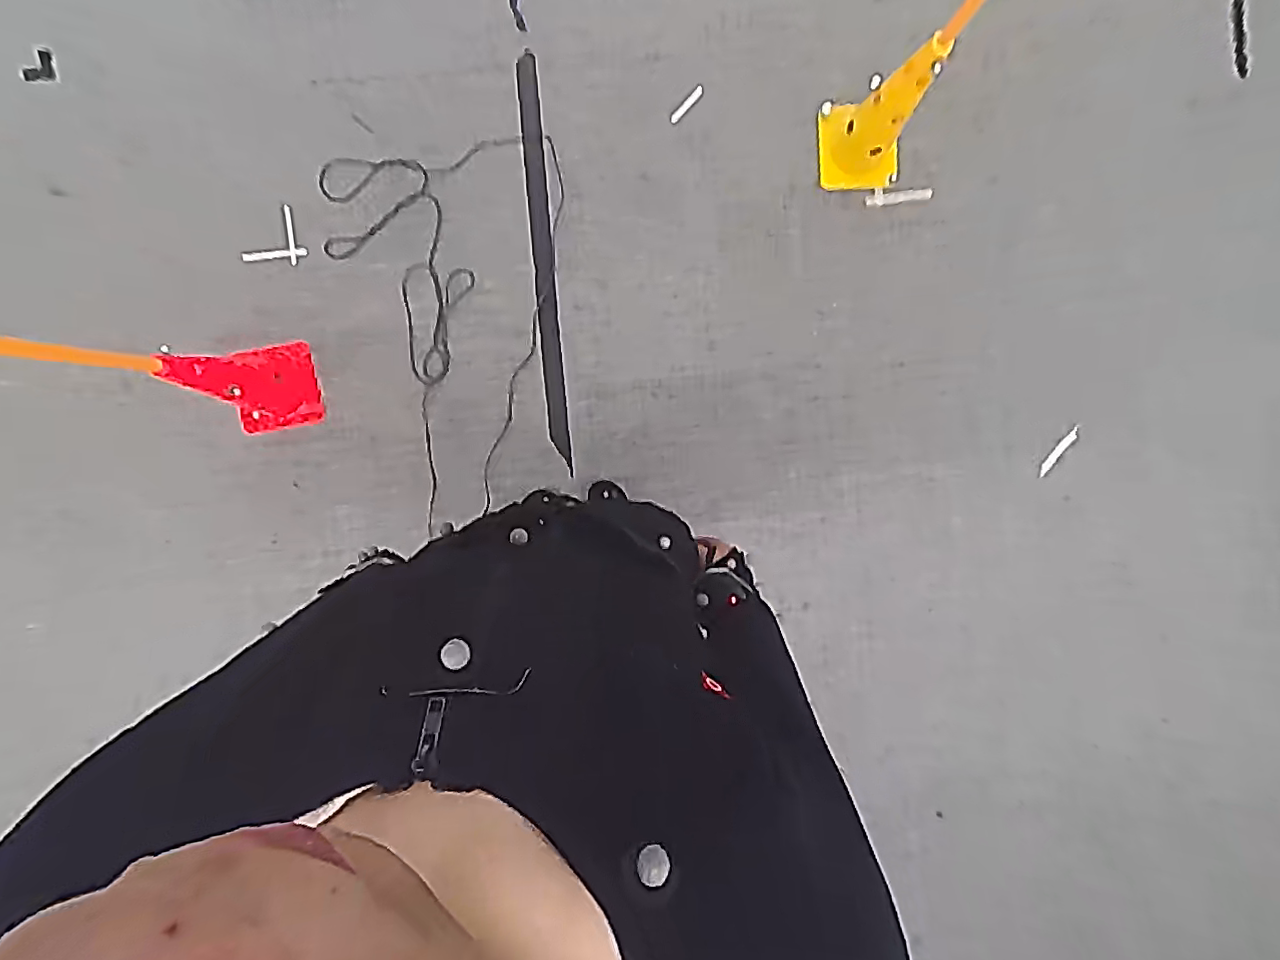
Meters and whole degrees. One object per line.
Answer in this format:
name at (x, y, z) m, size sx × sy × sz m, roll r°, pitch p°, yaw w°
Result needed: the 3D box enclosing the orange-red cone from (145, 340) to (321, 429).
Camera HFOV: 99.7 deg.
orange-red cone at (-0.874, -0.220, 1.138) m, size 0.199 × 0.360 × 0.198 m, roll -11°, pitch 94°, yaw -3°
